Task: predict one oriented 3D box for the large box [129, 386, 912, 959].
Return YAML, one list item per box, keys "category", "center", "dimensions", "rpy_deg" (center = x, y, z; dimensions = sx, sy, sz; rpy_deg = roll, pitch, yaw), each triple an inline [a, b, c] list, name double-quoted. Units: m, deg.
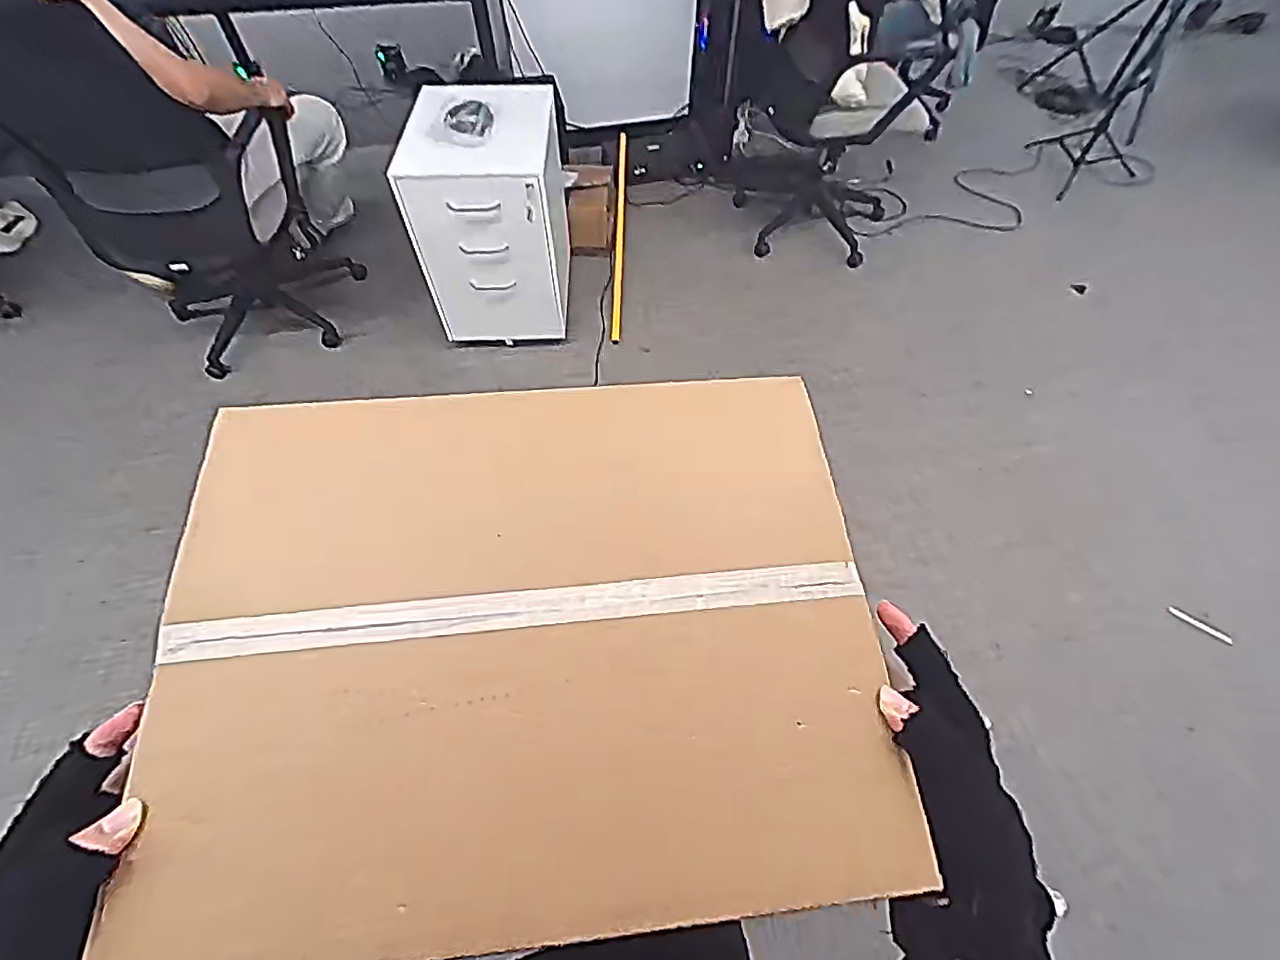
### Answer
- category: "large box"
  center: [-0.072, 0.145, 0.469]
  dimensions: [0.408, 0.320, 0.320]
  rpy_deg: [-4, 66, -5]
